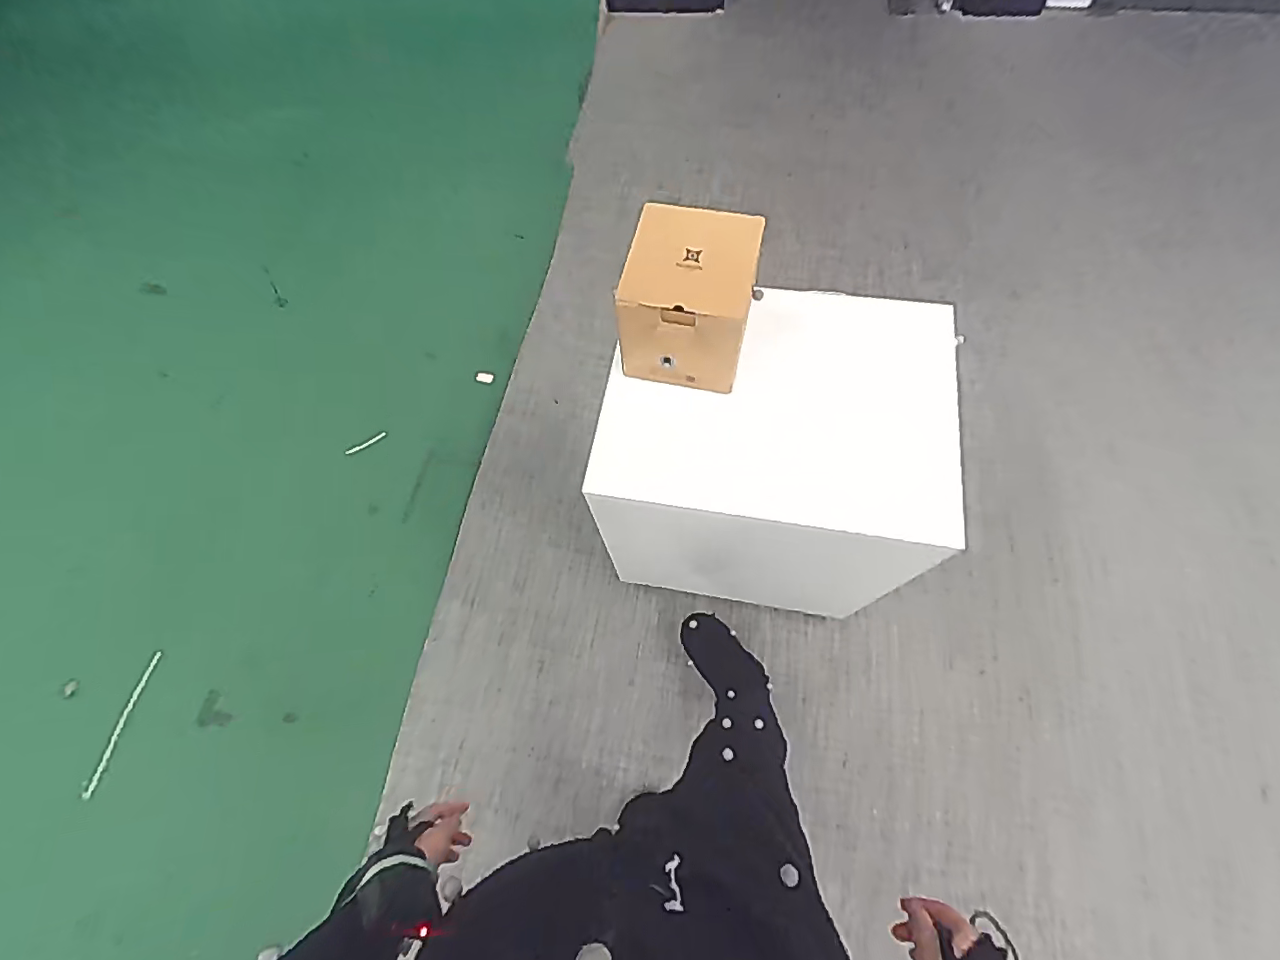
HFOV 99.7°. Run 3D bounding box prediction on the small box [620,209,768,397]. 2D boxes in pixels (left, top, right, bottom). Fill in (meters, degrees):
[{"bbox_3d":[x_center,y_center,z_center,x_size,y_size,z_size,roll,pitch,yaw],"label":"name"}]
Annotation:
[{"bbox_3d":[0.075,-0.245,0.770,0.168,0.176,0.179,11,68,8],"label":"small box"}]
